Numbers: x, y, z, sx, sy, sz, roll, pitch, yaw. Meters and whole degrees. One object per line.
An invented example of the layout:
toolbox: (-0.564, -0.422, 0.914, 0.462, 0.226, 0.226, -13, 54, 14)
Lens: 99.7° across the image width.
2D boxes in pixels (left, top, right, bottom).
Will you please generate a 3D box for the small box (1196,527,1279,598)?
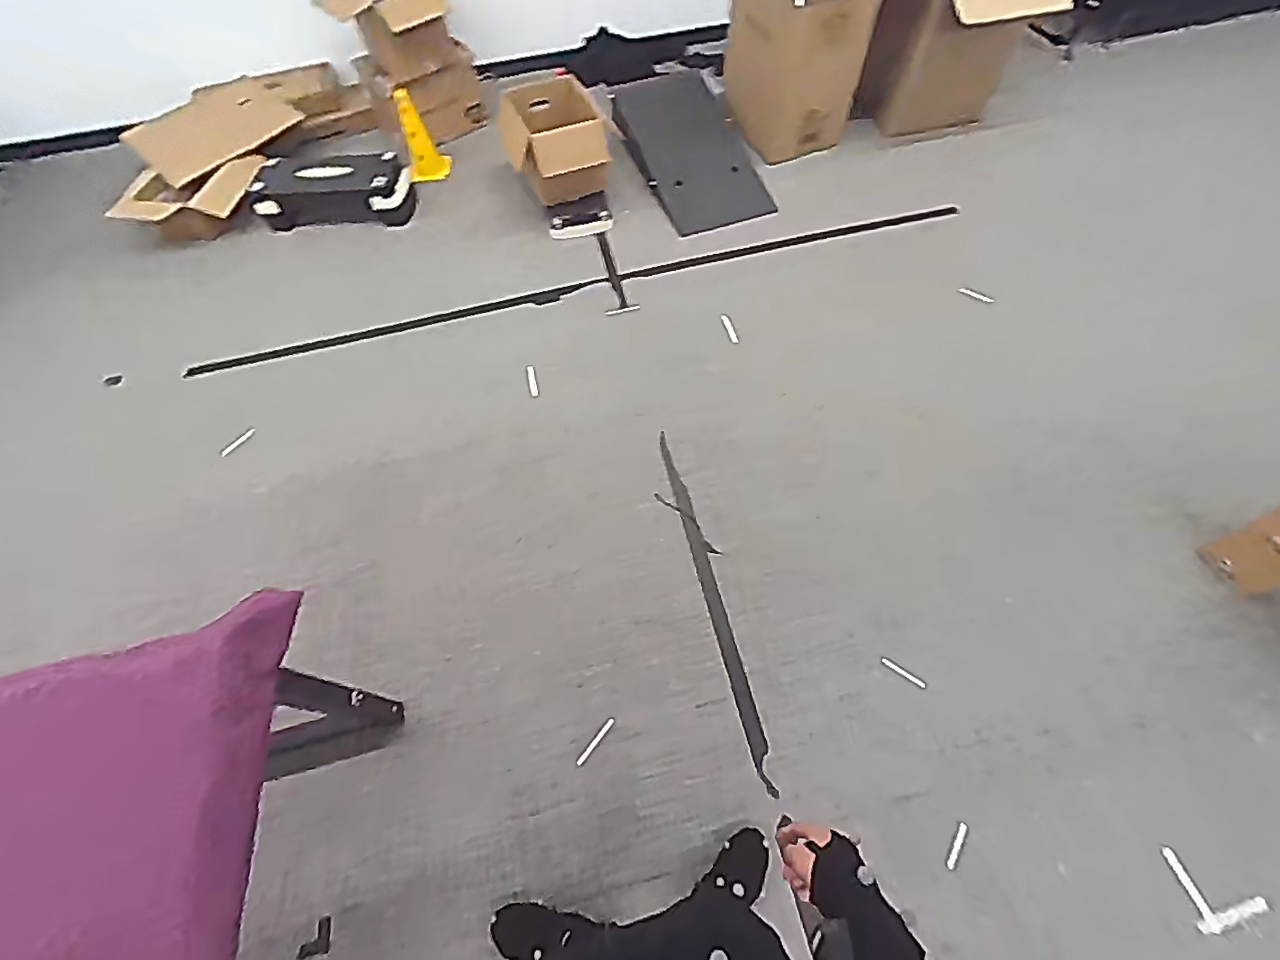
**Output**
small box: (1.771, 0.213, 1.535, 0.179, 0.176, 0.168, -19, 60, -8)

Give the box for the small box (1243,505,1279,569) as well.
small box: (1.757, 0.125, 1.397, 0.179, 0.176, 0.168, -17, 60, -7)
